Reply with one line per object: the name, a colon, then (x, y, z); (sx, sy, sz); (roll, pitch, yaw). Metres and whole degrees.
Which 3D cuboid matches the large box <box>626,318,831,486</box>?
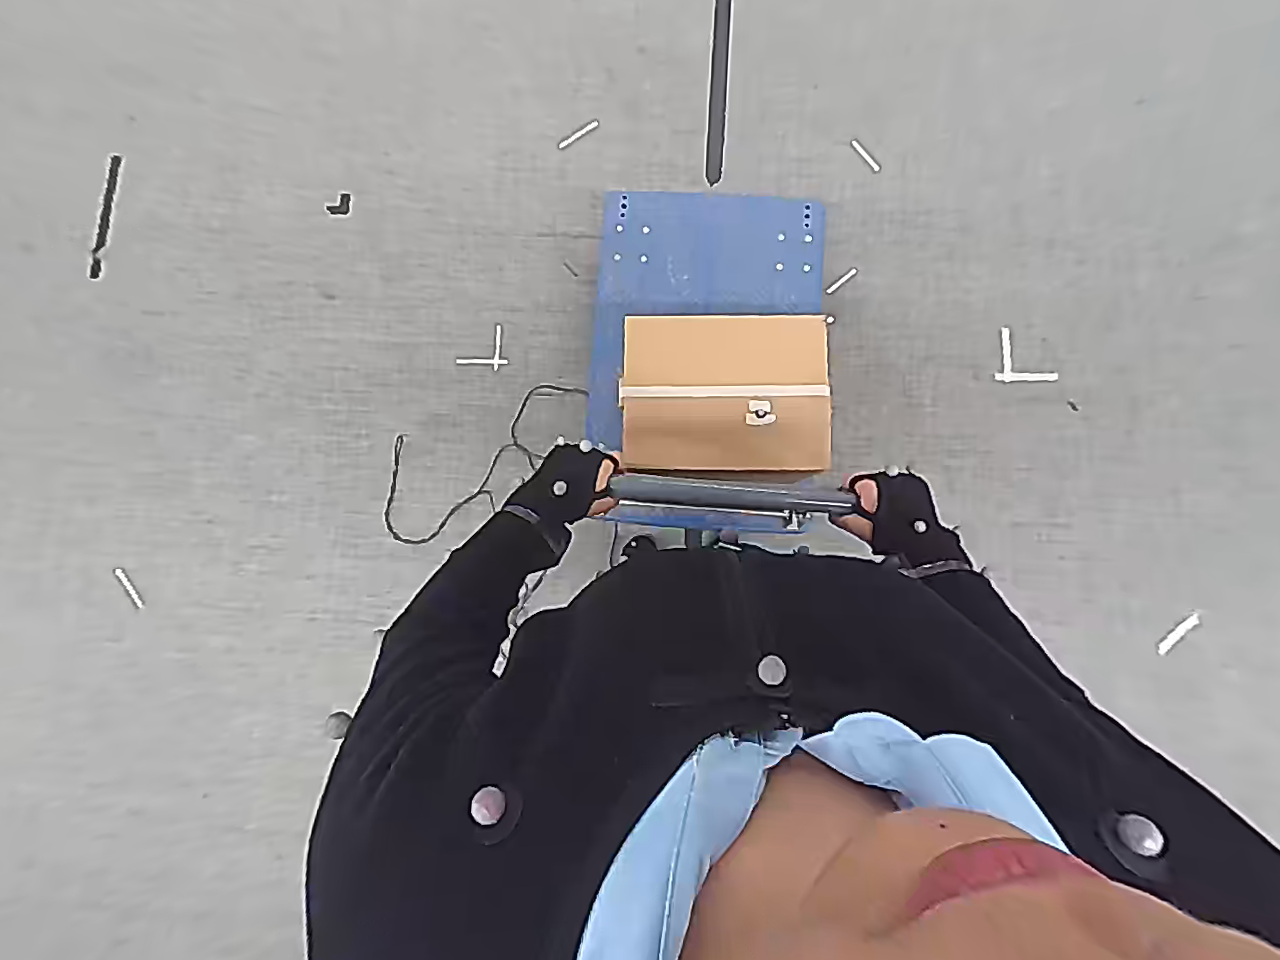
large box: (0.175, -0.155, 1.221); (0.408, 0.320, 0.320); (0, 85, 1)
